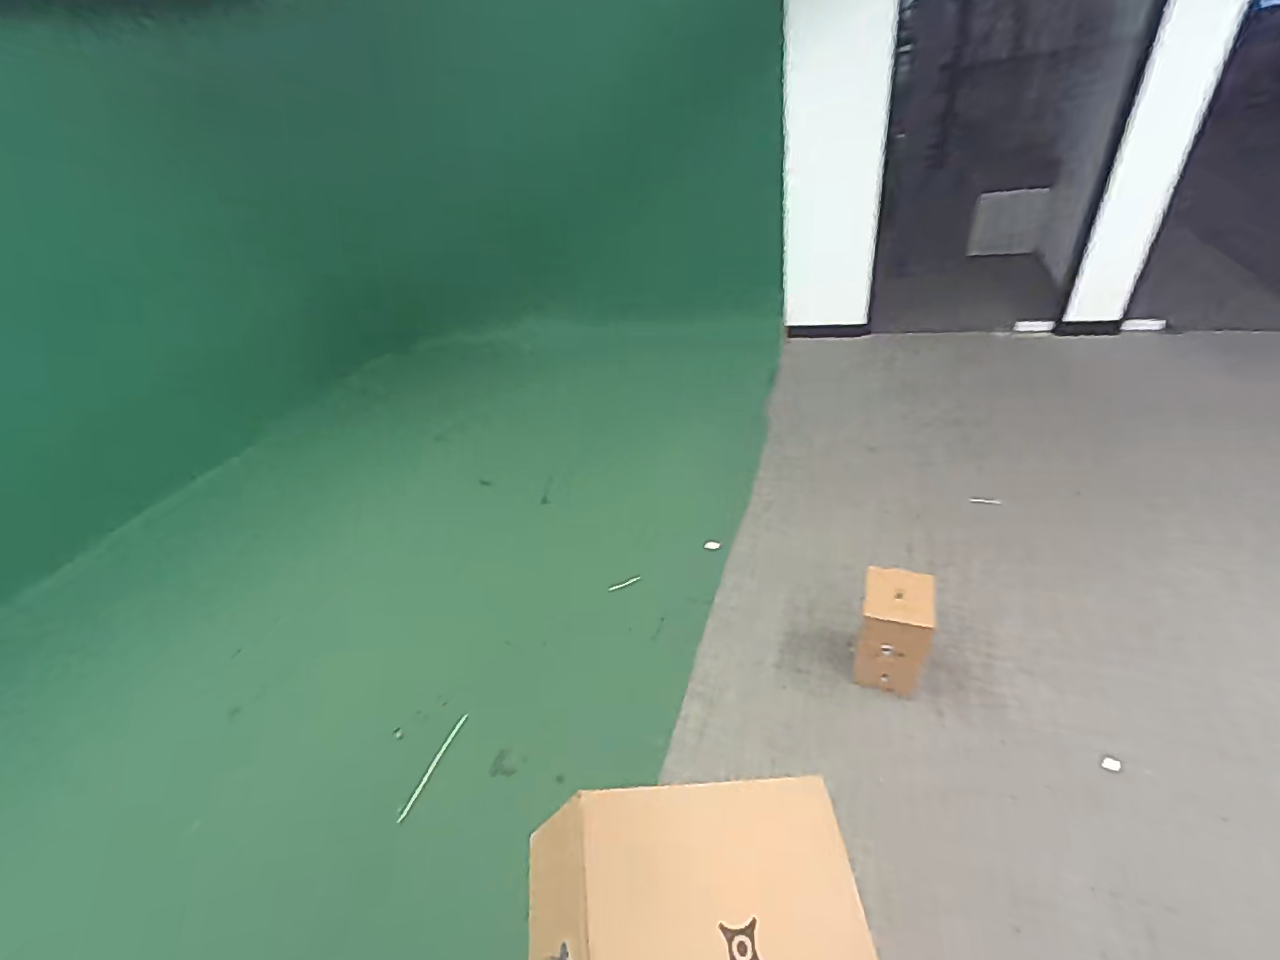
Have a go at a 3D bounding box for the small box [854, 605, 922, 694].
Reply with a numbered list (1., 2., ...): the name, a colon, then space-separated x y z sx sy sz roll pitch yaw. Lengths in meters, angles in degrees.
1. small box: 0.712 0.478 1.543 0.168 0.176 0.179 9 43 25

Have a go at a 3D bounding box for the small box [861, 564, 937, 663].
1. small box: 0.687 0.353 1.442 0.168 0.176 0.179 5 42 23
